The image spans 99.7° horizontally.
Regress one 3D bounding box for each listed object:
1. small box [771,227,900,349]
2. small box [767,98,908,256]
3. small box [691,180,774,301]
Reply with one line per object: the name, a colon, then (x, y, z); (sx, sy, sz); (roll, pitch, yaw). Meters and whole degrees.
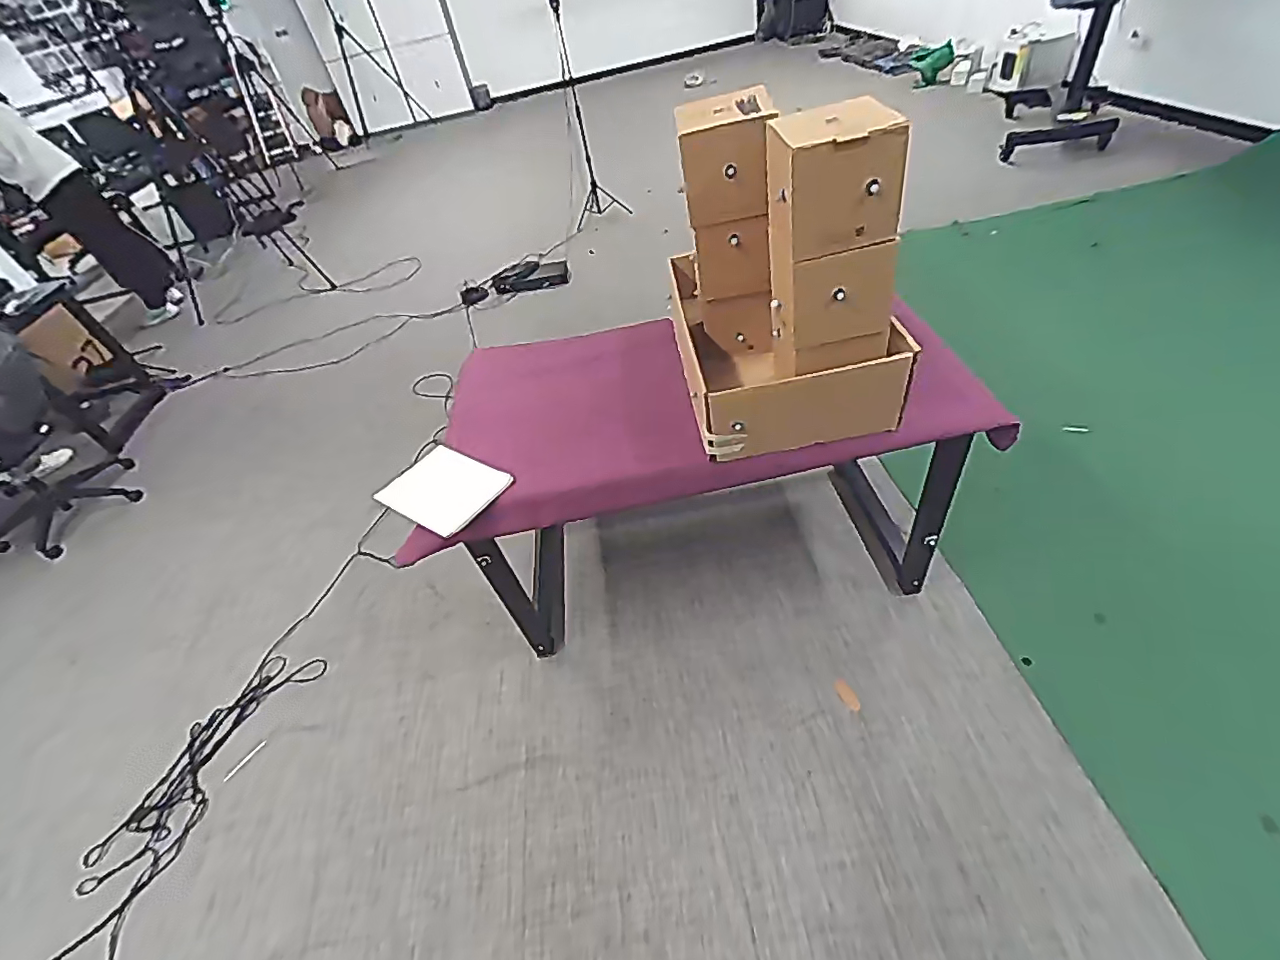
small box: (0.342, -0.363, 0.978); (0.179, 0.176, 0.168); (-11, 44, 7)
small box: (0.307, -0.479, 0.869); (0.168, 0.176, 0.179); (-10, 44, 6)
small box: (0.208, -0.510, 1.163); (0.179, 0.176, 0.168); (-7, 48, 9)
